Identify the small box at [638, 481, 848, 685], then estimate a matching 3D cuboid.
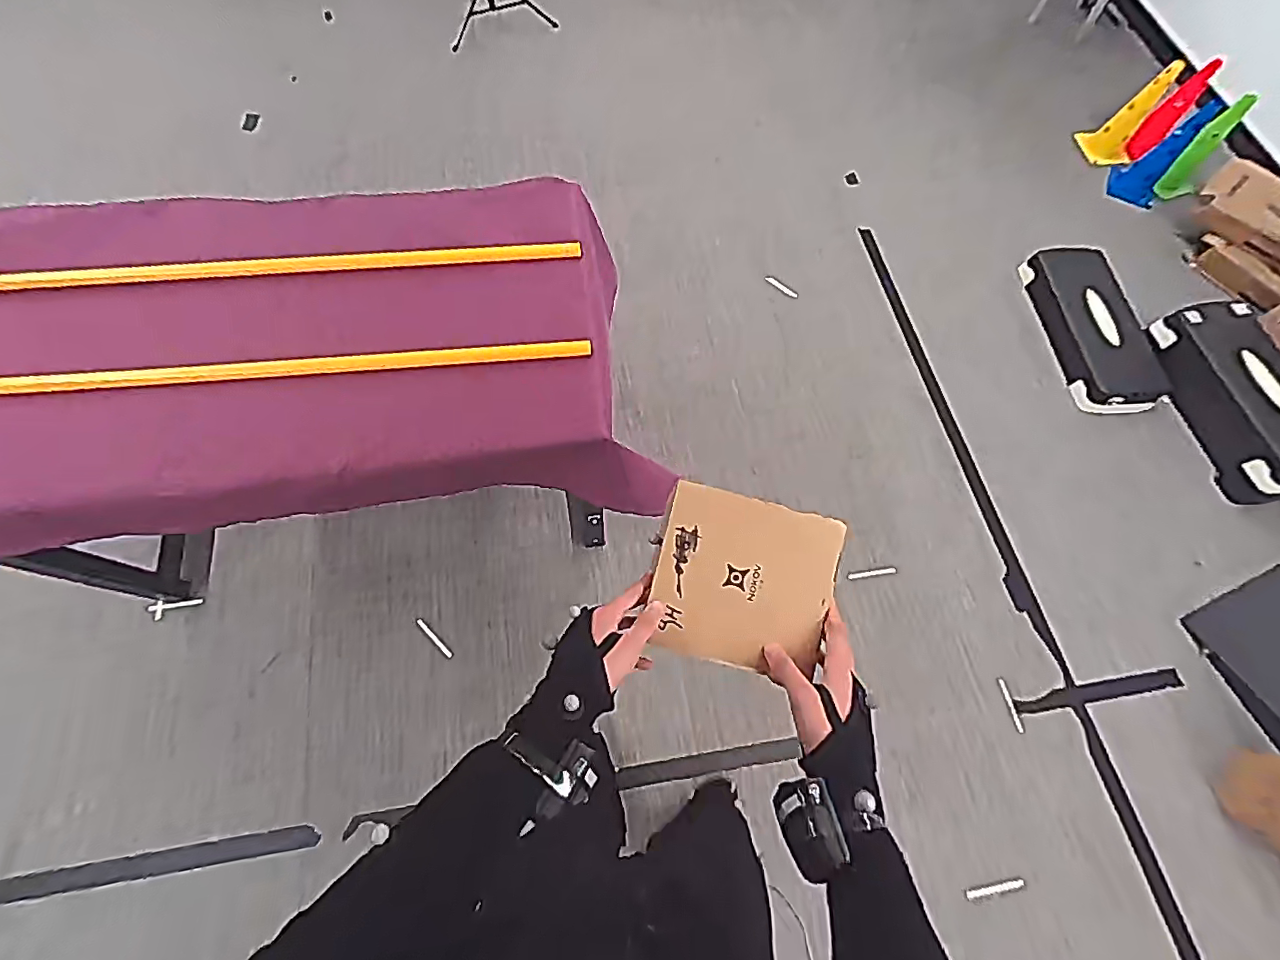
[{"bbox_3d":[0.102,0.106,0.607,0.179,0.176,0.168,15,84,1],"label":"small box"}]
